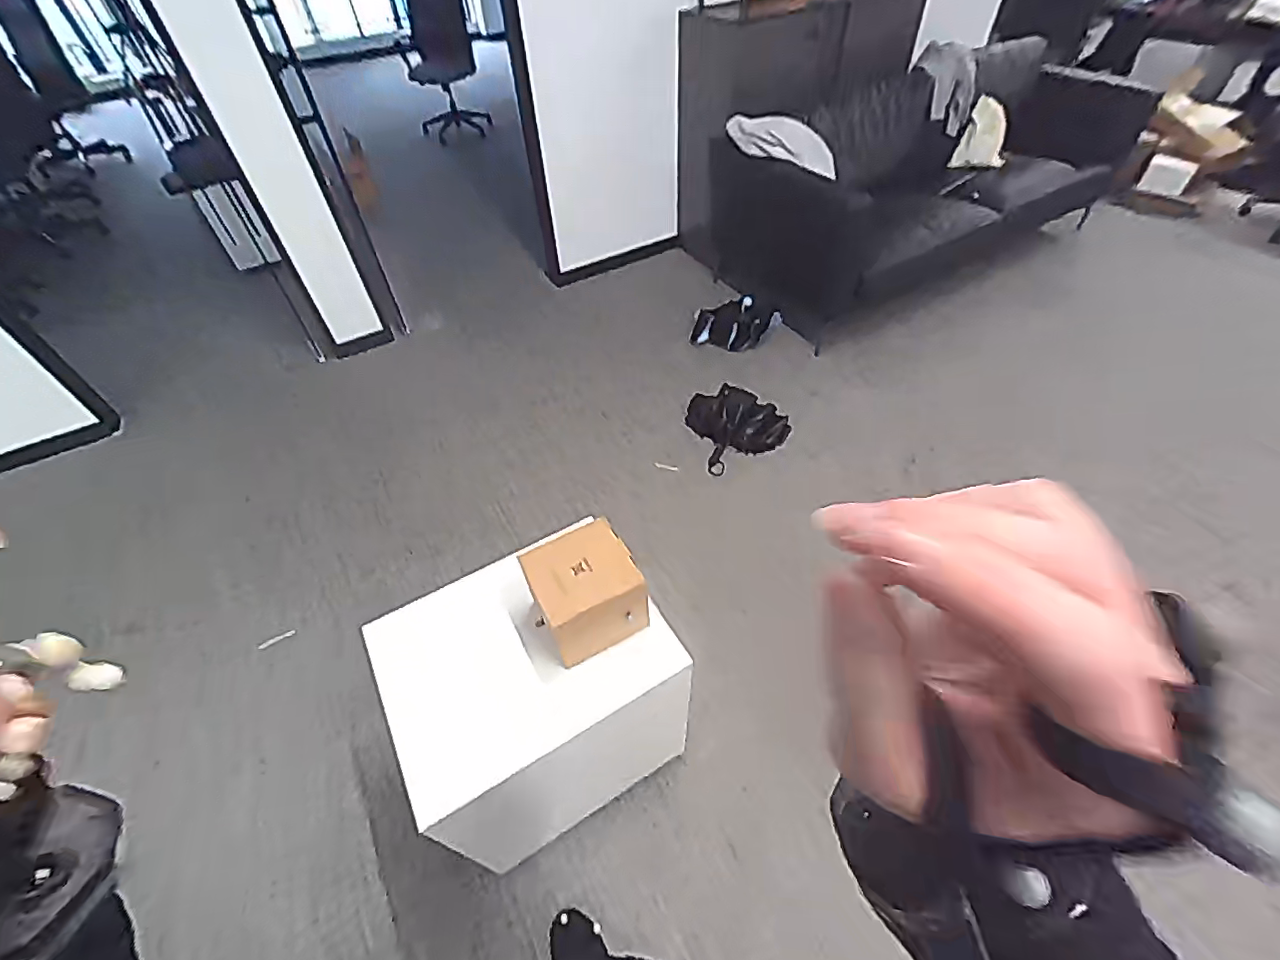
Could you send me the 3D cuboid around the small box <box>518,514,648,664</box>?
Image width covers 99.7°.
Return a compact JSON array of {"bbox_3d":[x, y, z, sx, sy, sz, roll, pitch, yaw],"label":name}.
[{"bbox_3d":[-0.097,0.199,0.985,0.179,0.176,0.168,-26,51,-16],"label":"small box"}]
